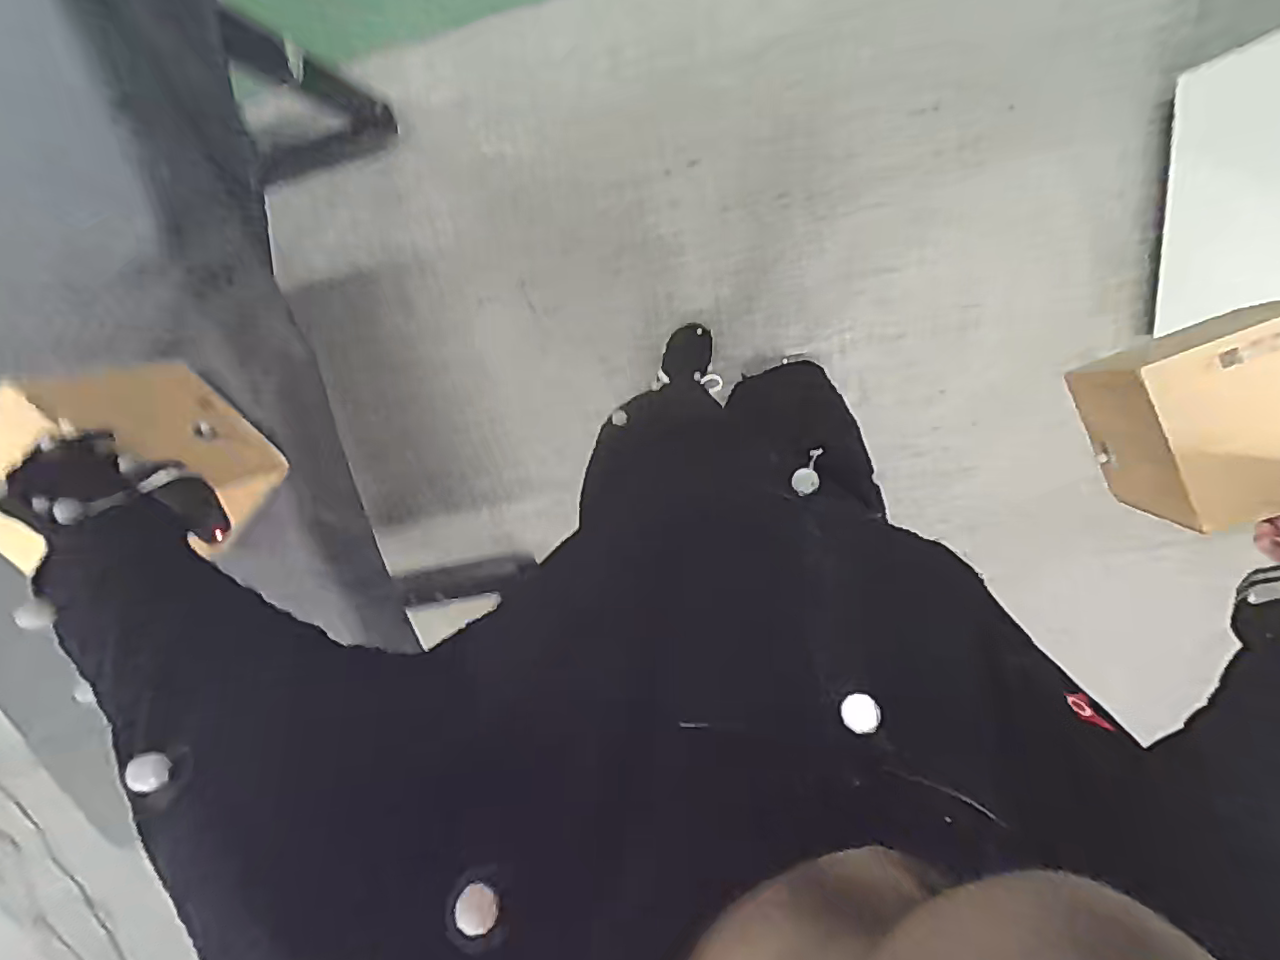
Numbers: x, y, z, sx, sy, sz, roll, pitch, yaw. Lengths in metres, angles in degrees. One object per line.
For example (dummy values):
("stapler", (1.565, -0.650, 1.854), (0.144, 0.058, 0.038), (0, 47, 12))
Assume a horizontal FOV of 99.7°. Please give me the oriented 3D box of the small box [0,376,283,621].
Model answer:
("small box", (-0.541, 0.010, 0.587), (0.168, 0.176, 0.179), (44, 109, -6))
